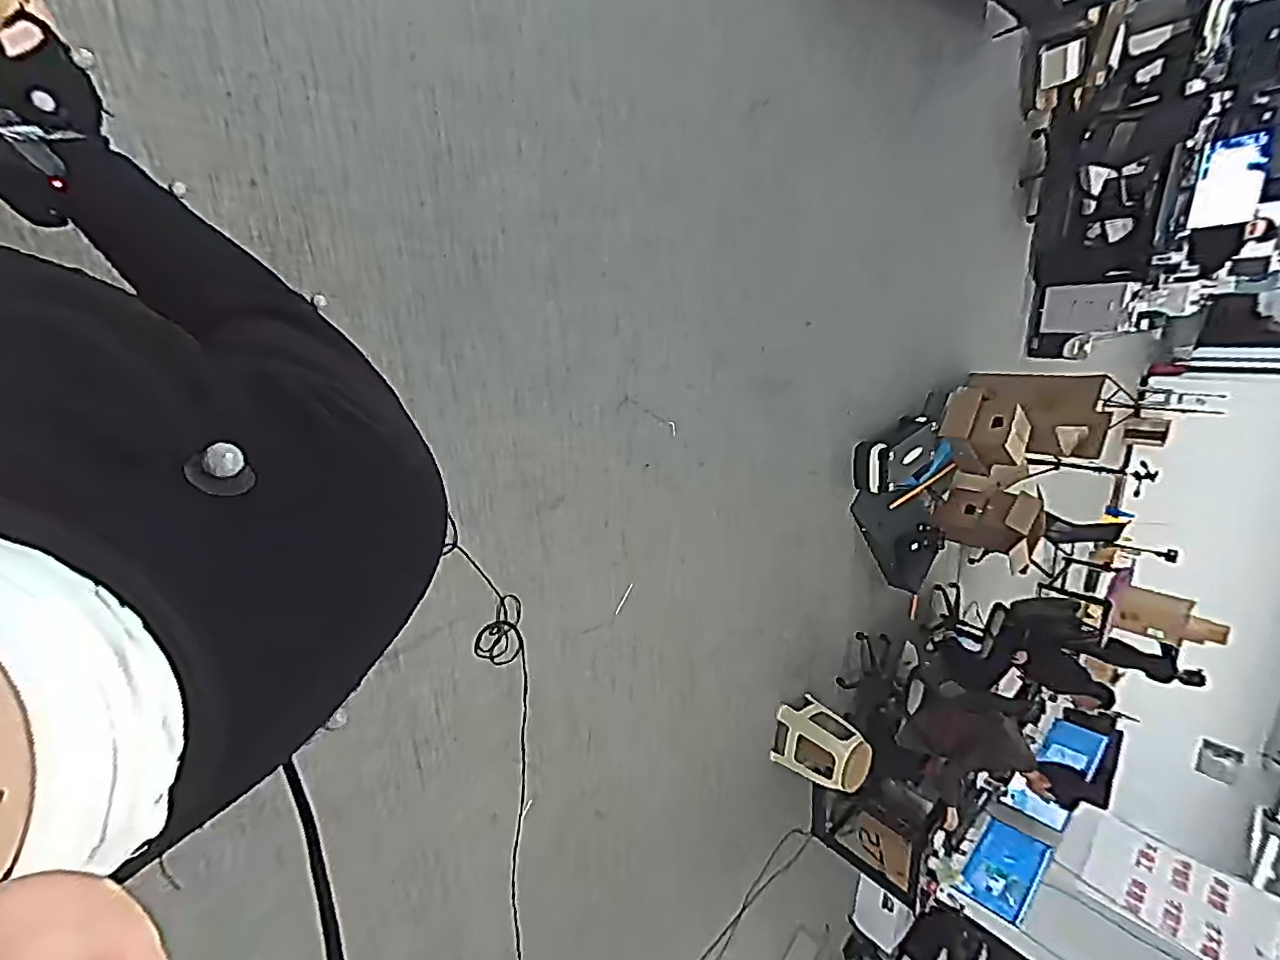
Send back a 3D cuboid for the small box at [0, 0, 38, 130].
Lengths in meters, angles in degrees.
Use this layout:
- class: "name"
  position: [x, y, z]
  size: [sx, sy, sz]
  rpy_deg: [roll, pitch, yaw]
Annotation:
- class: "small box"
  position: [-0.618, -0.406, 0.427]
  size: [0.179, 0.176, 0.168]
  rpy_deg: [-11, 106, -44]
